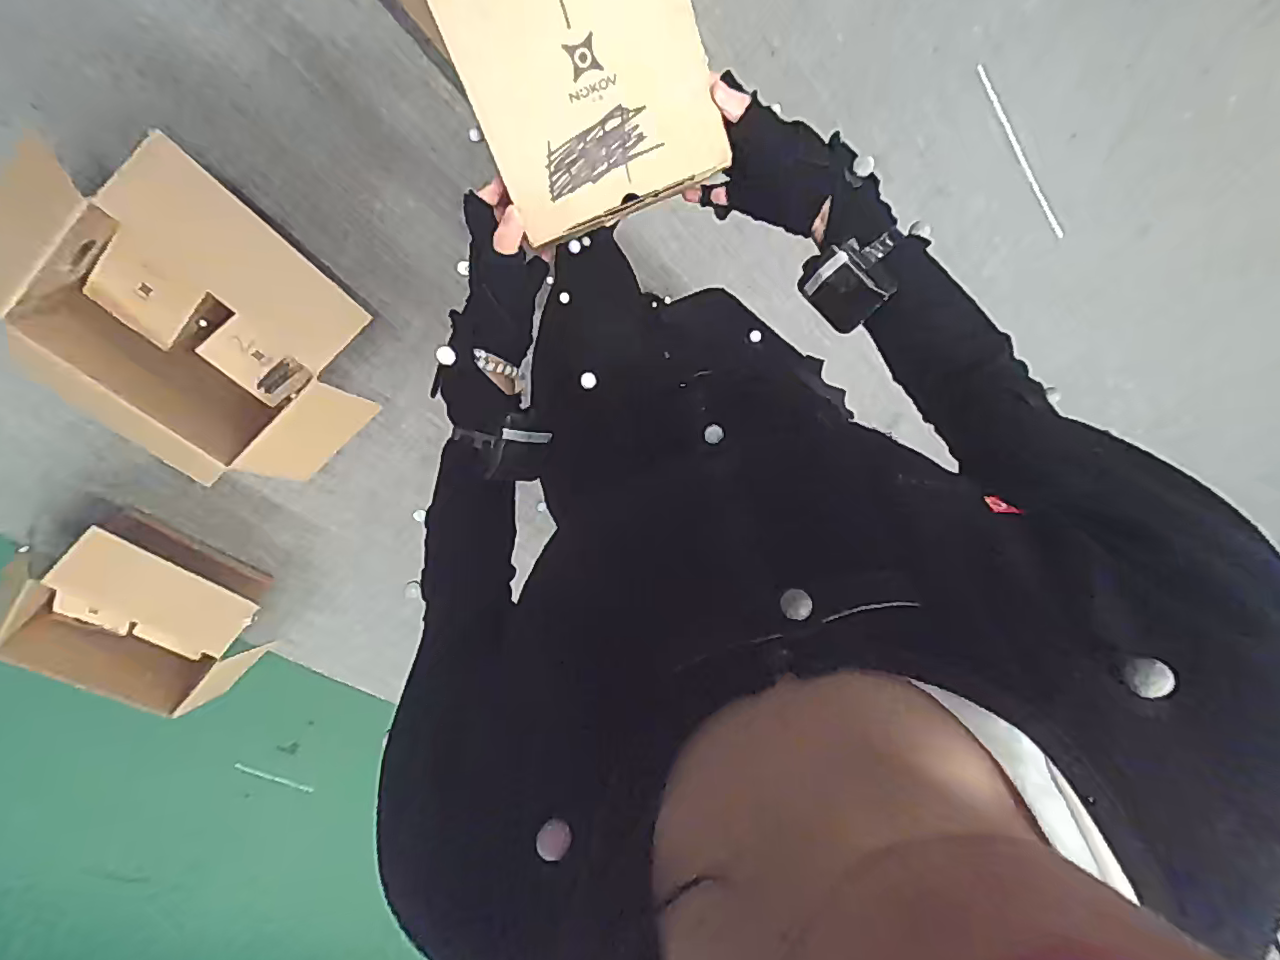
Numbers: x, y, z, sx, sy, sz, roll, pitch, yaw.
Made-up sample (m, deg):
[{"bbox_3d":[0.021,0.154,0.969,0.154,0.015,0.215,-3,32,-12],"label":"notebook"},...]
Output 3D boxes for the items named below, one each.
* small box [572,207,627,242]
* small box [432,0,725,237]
[{"bbox_3d":[-0.112,-0.634,1.143,0.179,0.176,0.168,29,127,-5],"label":"small box"},{"bbox_3d":[-0.045,-0.319,0.450,0.168,0.176,0.179,-21,112,3],"label":"small box"}]
